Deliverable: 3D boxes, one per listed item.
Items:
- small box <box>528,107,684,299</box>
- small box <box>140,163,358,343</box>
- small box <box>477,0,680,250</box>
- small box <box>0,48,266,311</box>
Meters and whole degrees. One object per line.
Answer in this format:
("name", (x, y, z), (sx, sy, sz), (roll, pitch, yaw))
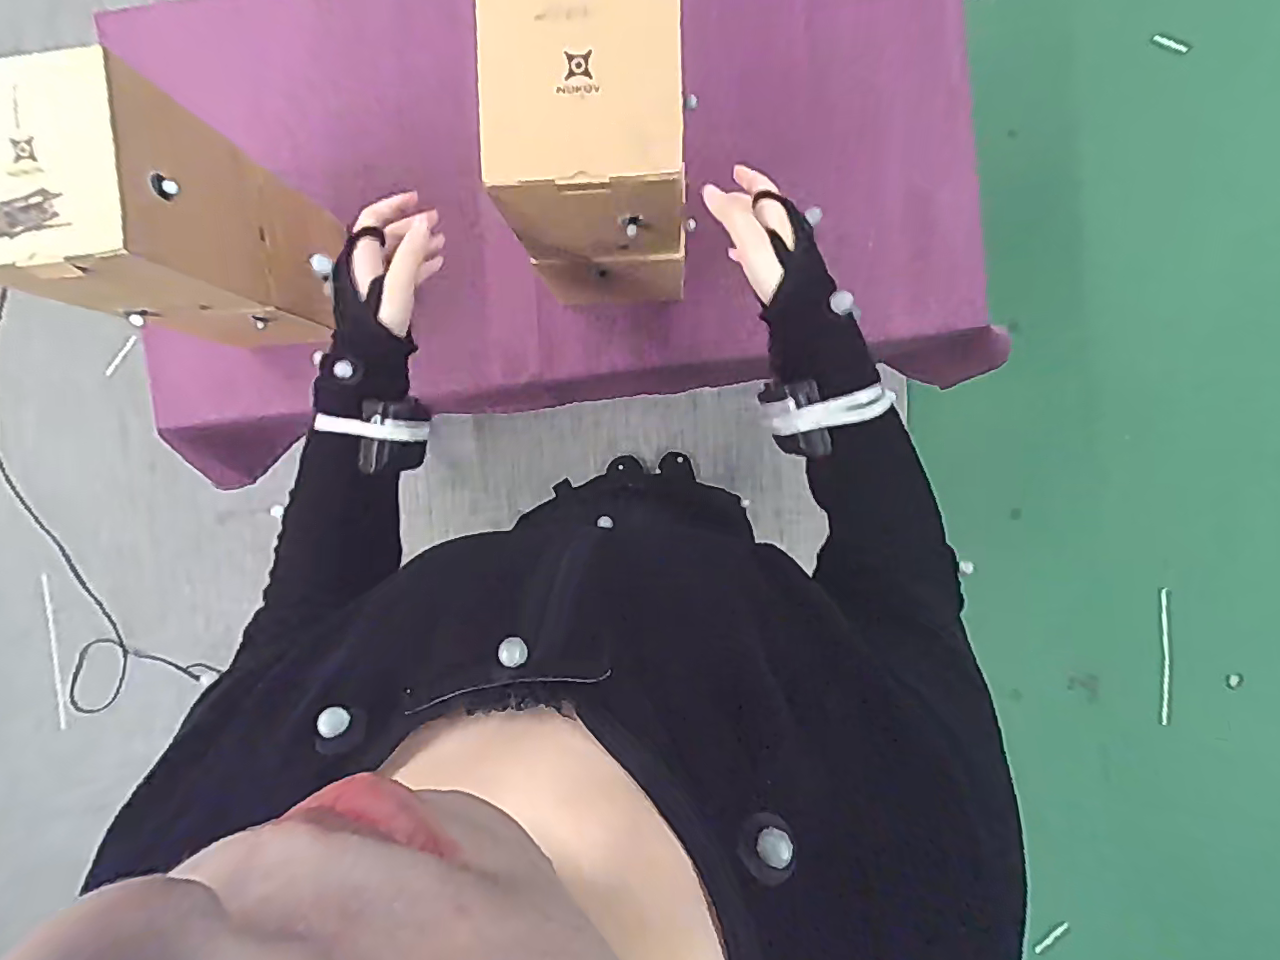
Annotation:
("small box", (-0.033, -0.332, 0.679), (0.179, 0.176, 0.168), (0, 93, 4))
("small box", (-0.508, -0.284, 0.715), (0.179, 0.176, 0.168), (-4, 92, 3))
("small box", (-0.045, -0.333, 0.515), (0.168, 0.176, 0.179), (0, 92, 3))
("small box", (-0.520, -0.281, 0.550), (0.168, 0.176, 0.179), (-5, 91, 3))
